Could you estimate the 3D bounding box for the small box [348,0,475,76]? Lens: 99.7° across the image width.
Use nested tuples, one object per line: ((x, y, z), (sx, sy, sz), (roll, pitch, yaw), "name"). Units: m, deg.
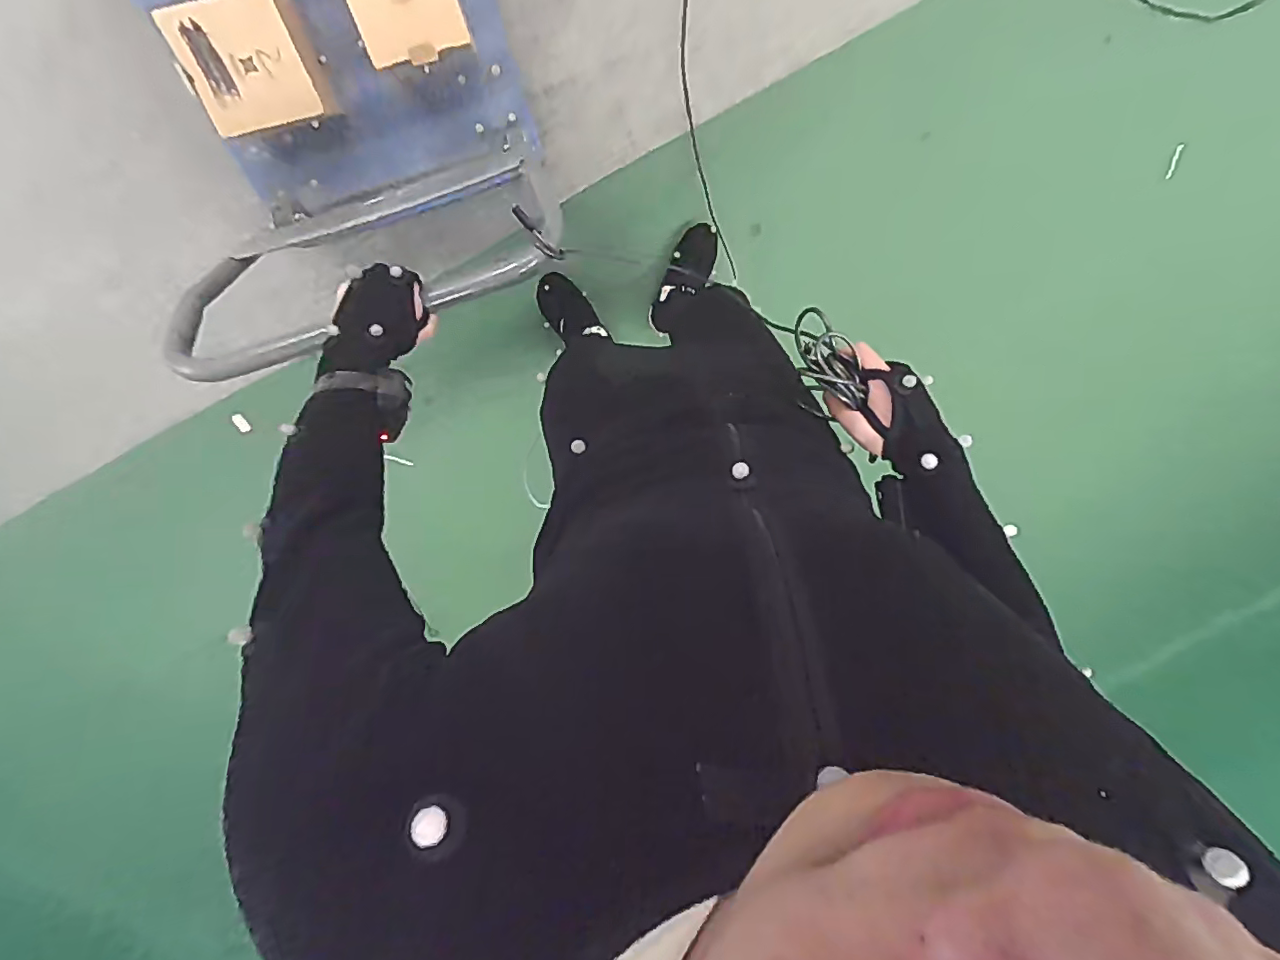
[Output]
((-0.387, -0.800, 0.900), (0.168, 0.176, 0.179), (-18, 128, -1), "small box")
